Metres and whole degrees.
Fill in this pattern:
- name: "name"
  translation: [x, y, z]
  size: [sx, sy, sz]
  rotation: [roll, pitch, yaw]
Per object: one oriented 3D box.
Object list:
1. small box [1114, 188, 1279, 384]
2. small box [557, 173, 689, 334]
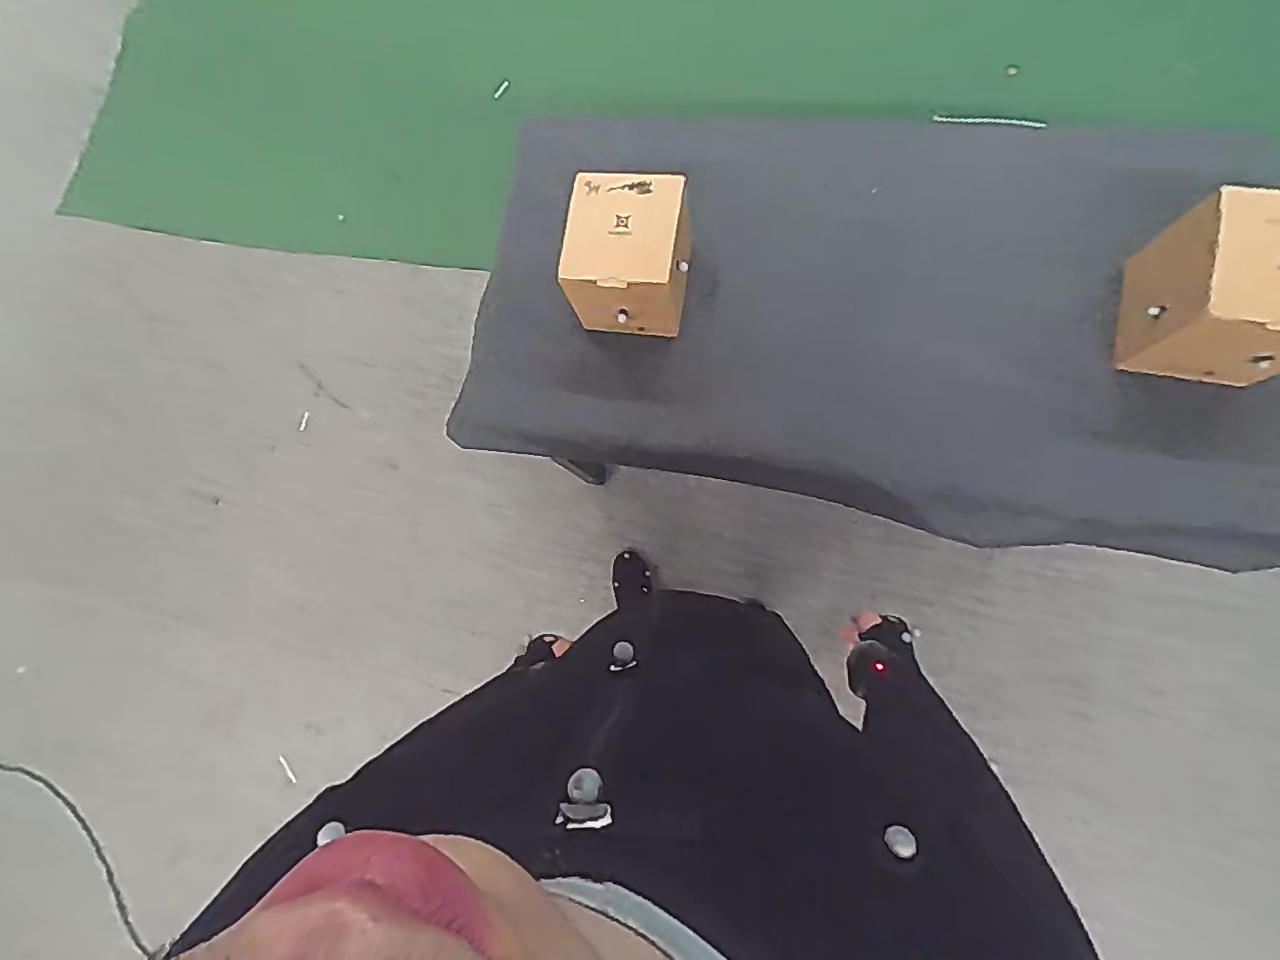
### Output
- name: "small box"
  translation: [0.771, -0.241, 0.707]
  size: [0.168, 0.176, 0.179]
  rotation: [12, 81, 10]
- name: "small box"
  translation: [-0.016, -0.348, 0.855]
  size: [0.168, 0.176, 0.179]
  rotation: [7, 81, 10]
